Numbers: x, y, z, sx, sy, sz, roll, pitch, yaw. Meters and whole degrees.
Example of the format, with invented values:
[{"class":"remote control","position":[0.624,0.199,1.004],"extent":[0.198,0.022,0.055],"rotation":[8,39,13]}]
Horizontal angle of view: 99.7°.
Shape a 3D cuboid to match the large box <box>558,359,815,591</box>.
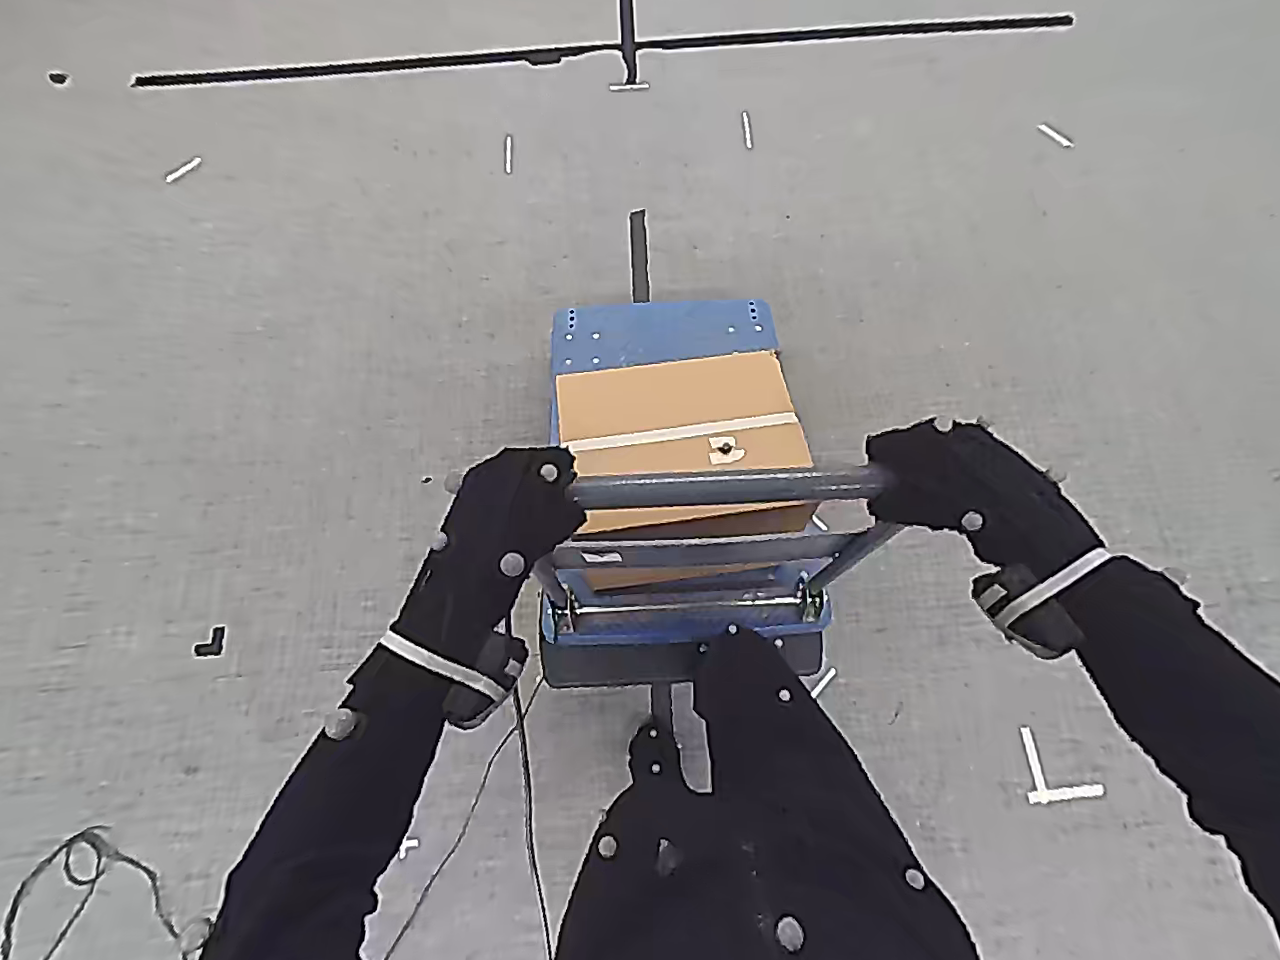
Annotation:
[{"class":"large box","position":[0.068,0.003,1.065],"extent":[0.408,0.320,0.320],"rotation":[-8,63,-4]}]
